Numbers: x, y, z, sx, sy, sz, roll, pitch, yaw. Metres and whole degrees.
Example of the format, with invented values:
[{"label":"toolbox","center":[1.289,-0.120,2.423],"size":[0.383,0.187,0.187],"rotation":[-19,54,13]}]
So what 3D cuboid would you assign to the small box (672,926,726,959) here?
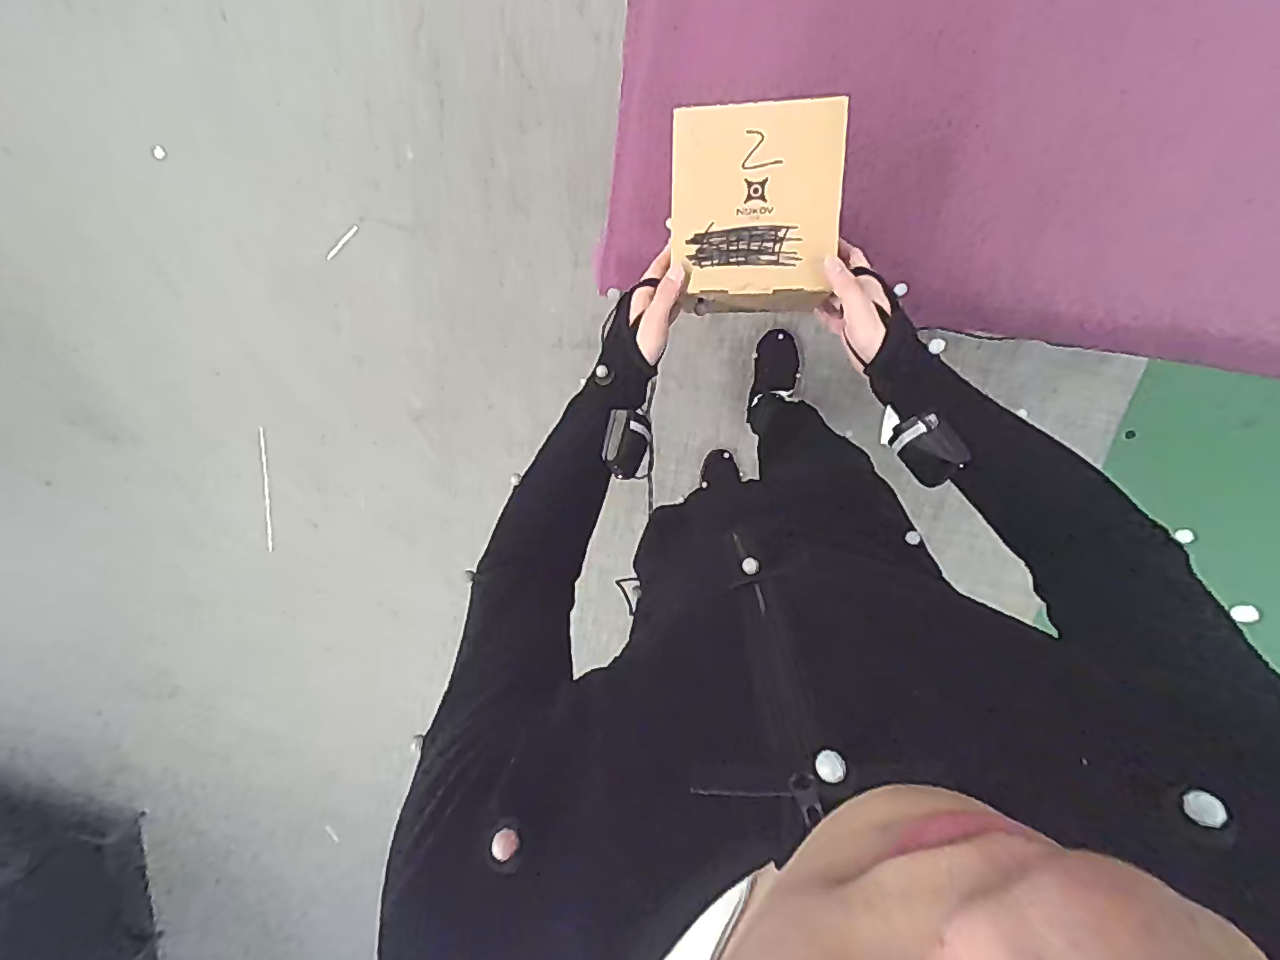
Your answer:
[{"label":"small box","center":[0.188,1.628,1.775],"size":[0.168,0.176,0.179],"rotation":[10,108,6]}]
